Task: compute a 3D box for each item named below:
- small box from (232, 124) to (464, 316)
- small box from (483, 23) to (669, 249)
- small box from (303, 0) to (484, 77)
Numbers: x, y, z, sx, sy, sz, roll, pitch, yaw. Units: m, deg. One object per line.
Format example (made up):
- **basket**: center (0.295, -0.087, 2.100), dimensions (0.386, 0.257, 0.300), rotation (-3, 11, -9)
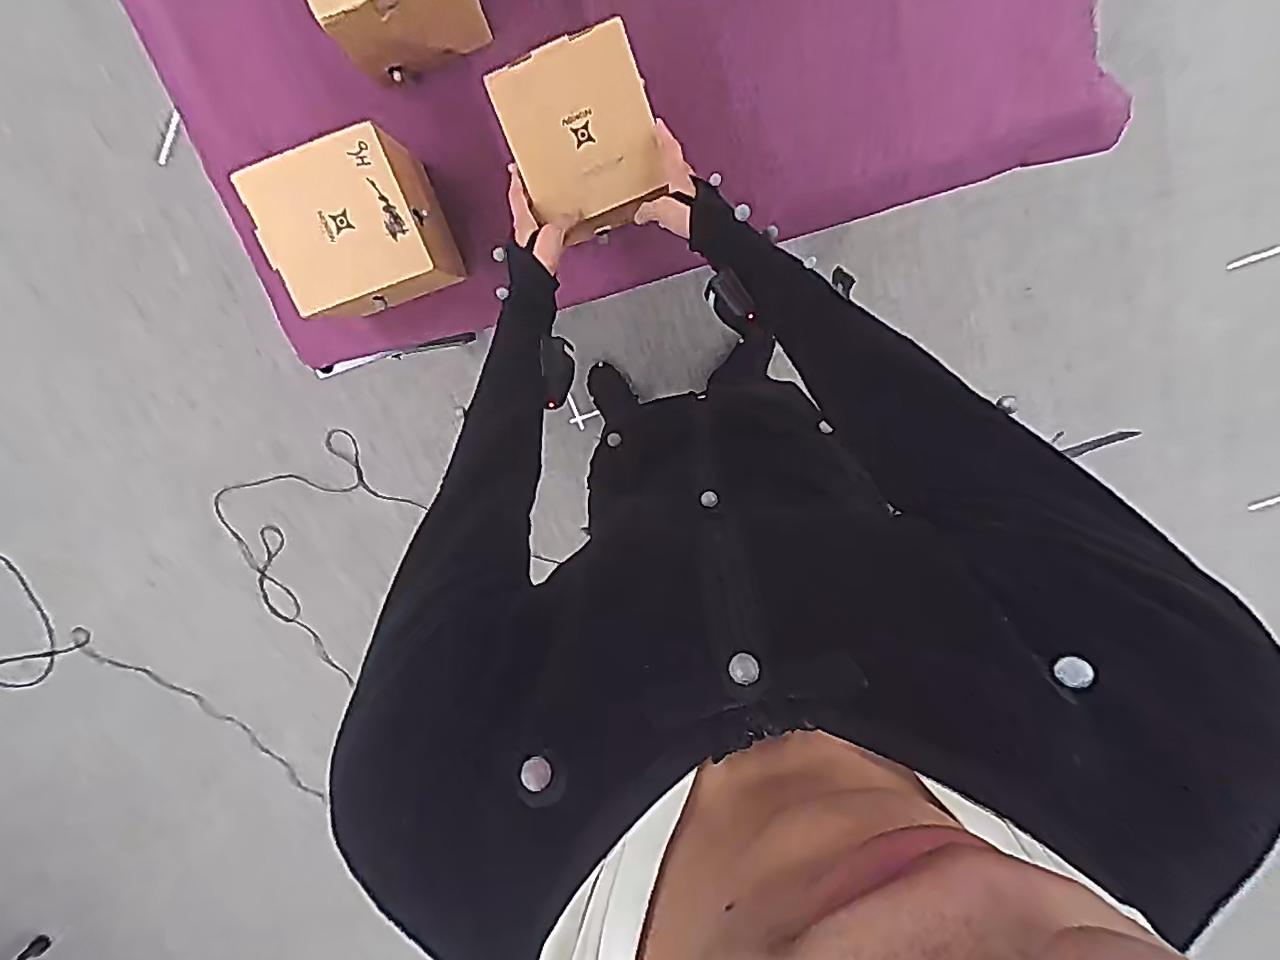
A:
- **small box**: center (-0.358, -0.319, 0.703), dimensions (0.179, 0.176, 0.168), rotation (-19, 107, 3)
- **small box**: center (-0.074, -0.417, 0.692), dimensions (0.168, 0.176, 0.179), rotation (-21, 108, 4)
- **small box**: center (-0.301, -0.608, 0.625), dimensions (0.168, 0.176, 0.179), rotation (-20, 106, 3)
